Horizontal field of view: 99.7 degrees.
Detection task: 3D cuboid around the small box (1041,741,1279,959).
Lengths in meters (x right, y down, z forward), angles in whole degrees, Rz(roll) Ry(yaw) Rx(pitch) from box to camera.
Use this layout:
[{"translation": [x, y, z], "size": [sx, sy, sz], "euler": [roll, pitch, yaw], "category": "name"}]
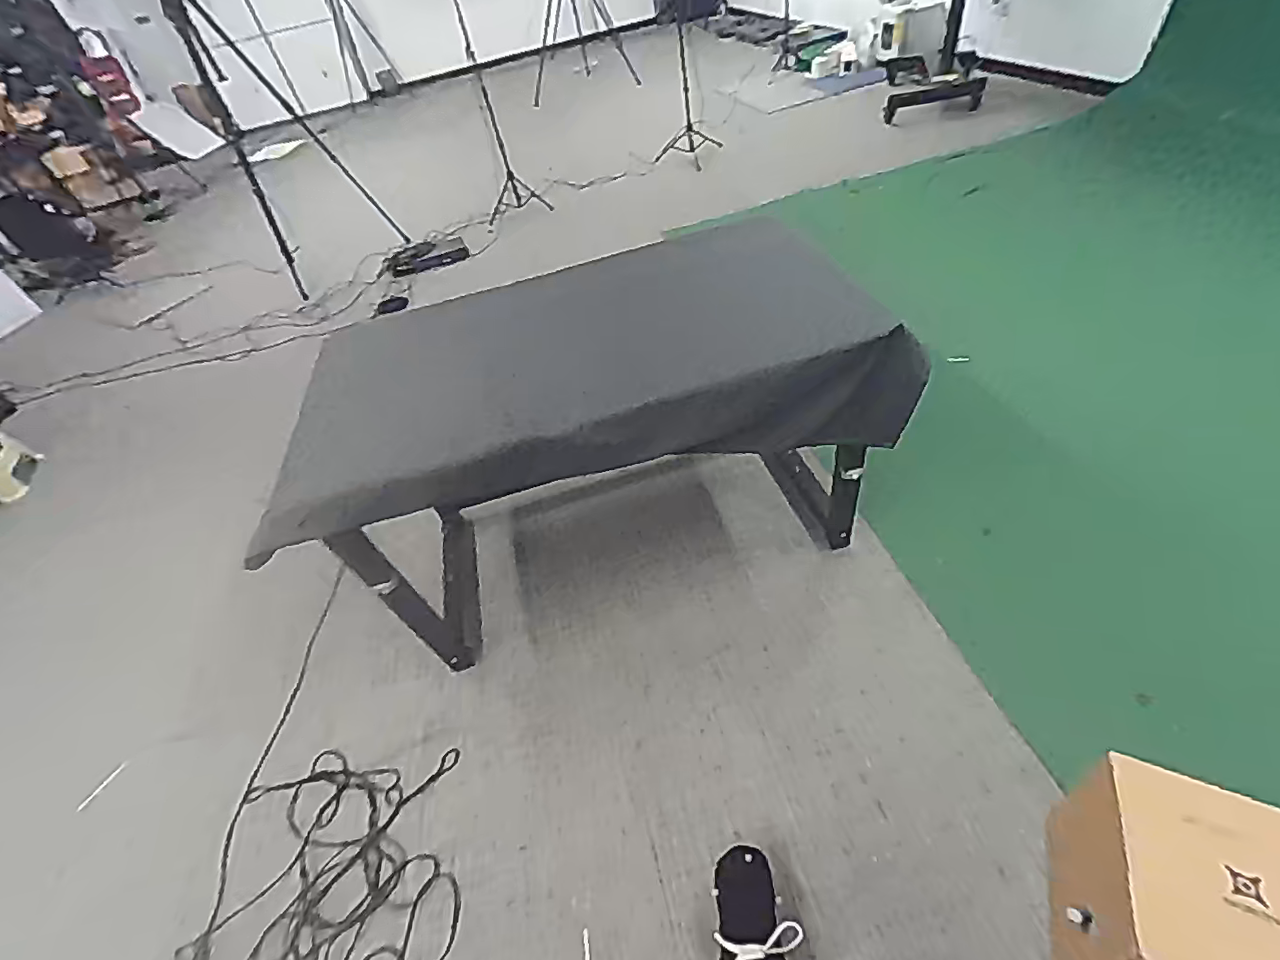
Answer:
[{"translation": [0.485, 0.381, 0.478], "size": [0.168, 0.176, 0.179], "euler": [15, 42, 22], "category": "small box"}]
